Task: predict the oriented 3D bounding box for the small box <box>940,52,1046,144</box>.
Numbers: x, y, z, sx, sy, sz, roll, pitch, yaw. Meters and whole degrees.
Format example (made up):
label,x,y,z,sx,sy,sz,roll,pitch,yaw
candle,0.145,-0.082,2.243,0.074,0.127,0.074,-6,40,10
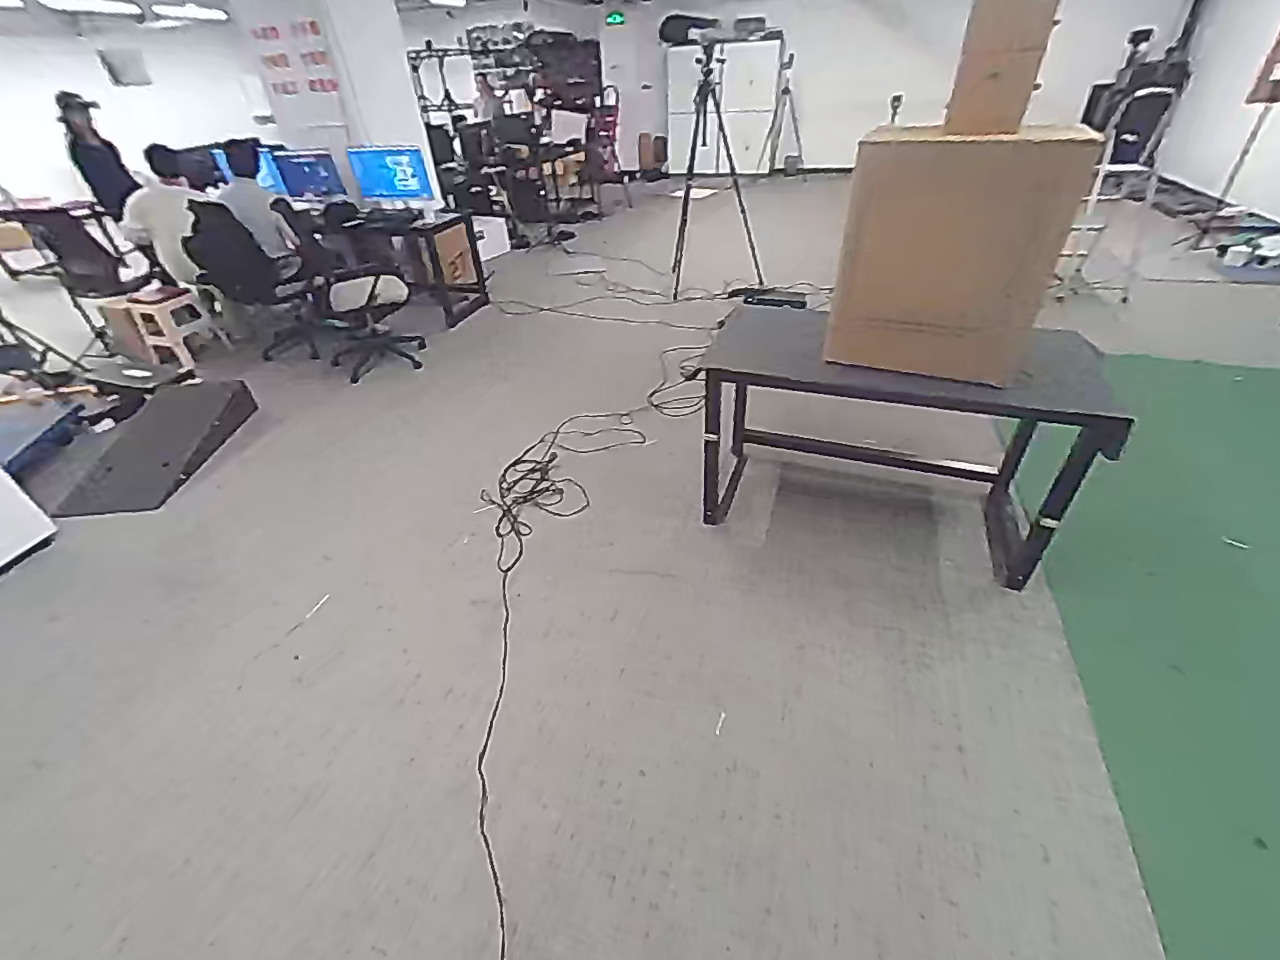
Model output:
label,x,y,z,sx,sy,sz,roll,pitch,yaw
small box,0.873,-0.949,1.346,0.179,0.176,0.168,15,43,23
